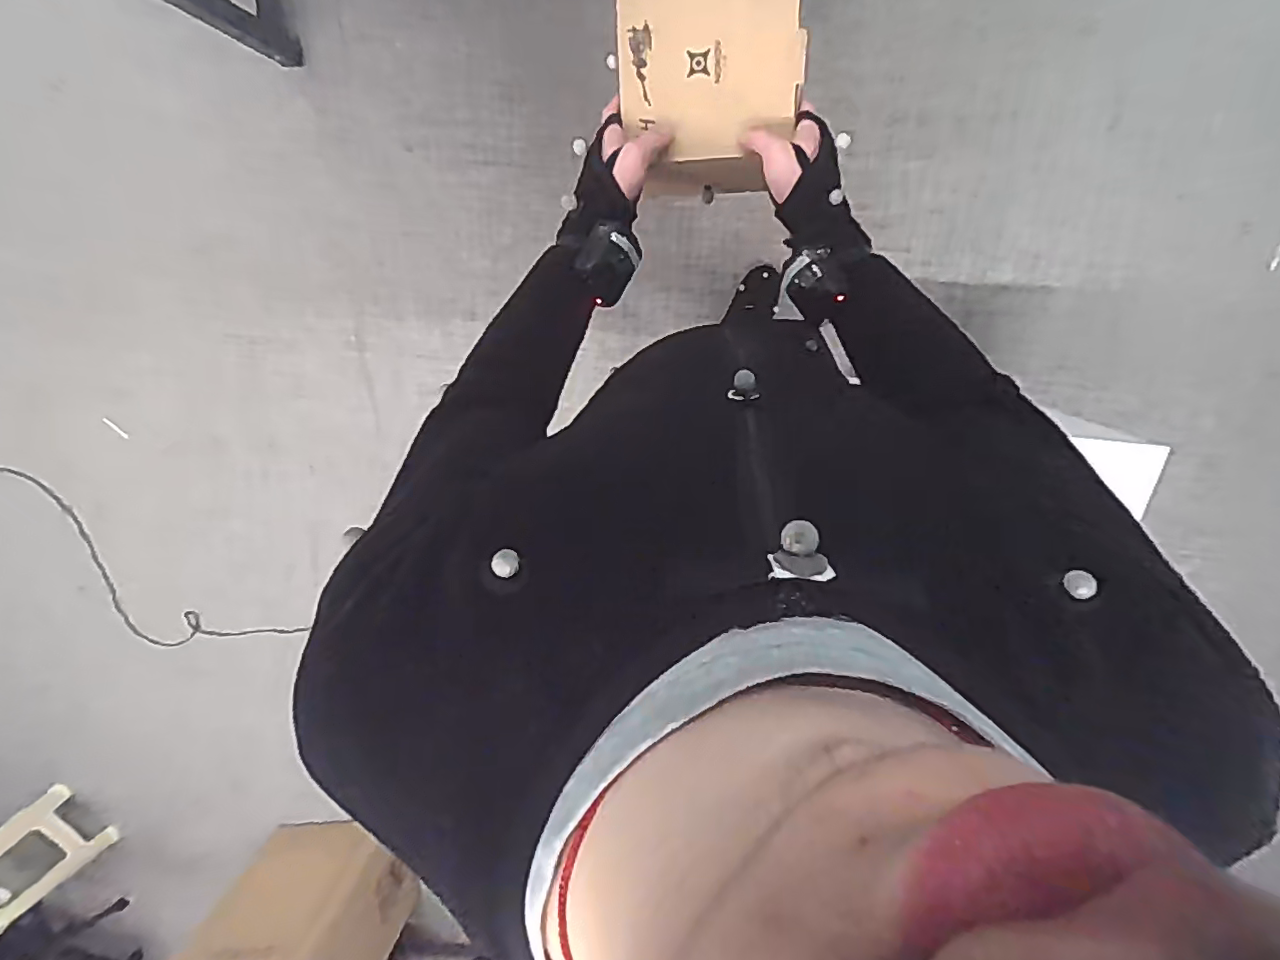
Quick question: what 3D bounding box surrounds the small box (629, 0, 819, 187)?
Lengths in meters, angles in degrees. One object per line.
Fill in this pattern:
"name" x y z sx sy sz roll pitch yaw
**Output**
"small box" 0.083 -0.424 0.582 0.179 0.176 0.168 0 108 6
